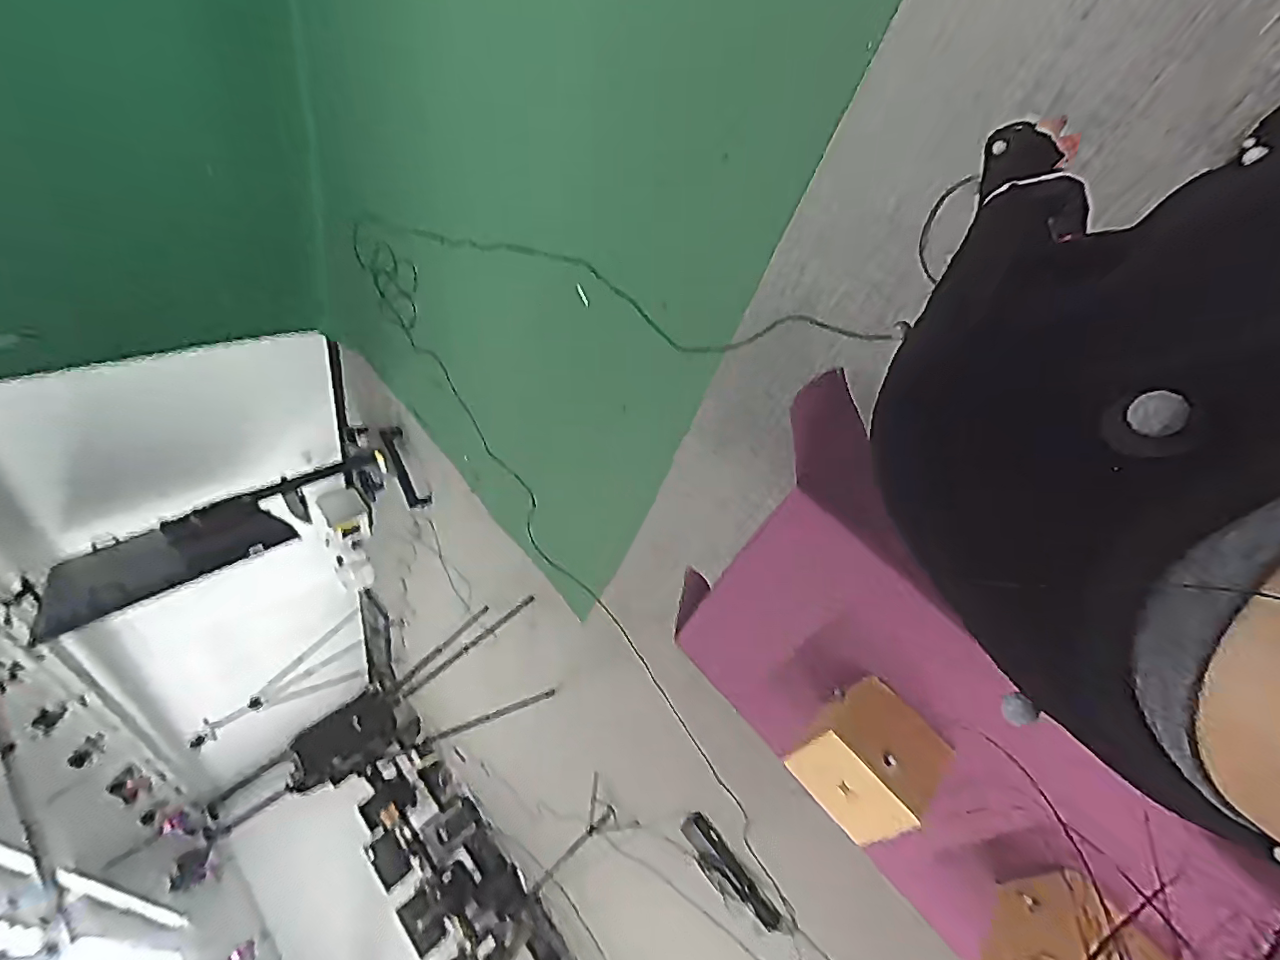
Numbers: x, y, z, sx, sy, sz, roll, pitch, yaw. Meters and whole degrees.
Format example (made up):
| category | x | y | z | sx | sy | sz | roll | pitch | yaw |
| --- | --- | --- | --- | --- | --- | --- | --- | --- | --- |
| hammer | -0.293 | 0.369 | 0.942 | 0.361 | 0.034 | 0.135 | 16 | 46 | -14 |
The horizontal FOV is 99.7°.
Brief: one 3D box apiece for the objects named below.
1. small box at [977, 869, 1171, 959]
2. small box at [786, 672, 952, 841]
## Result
| category | x | y | z | sx | sy | sz | roll | pitch | yaw |
| --- | --- | --- | --- | --- | --- | --- | --- | --- | --- |
| small box | 0.659 | 0.738 | 0.812 | 0.179 | 0.176 | 0.168 | 44 | 137 | 22 |
| small box | 0.399 | 0.475 | 0.941 | 0.179 | 0.176 | 0.168 | 46 | 137 | 20 |
